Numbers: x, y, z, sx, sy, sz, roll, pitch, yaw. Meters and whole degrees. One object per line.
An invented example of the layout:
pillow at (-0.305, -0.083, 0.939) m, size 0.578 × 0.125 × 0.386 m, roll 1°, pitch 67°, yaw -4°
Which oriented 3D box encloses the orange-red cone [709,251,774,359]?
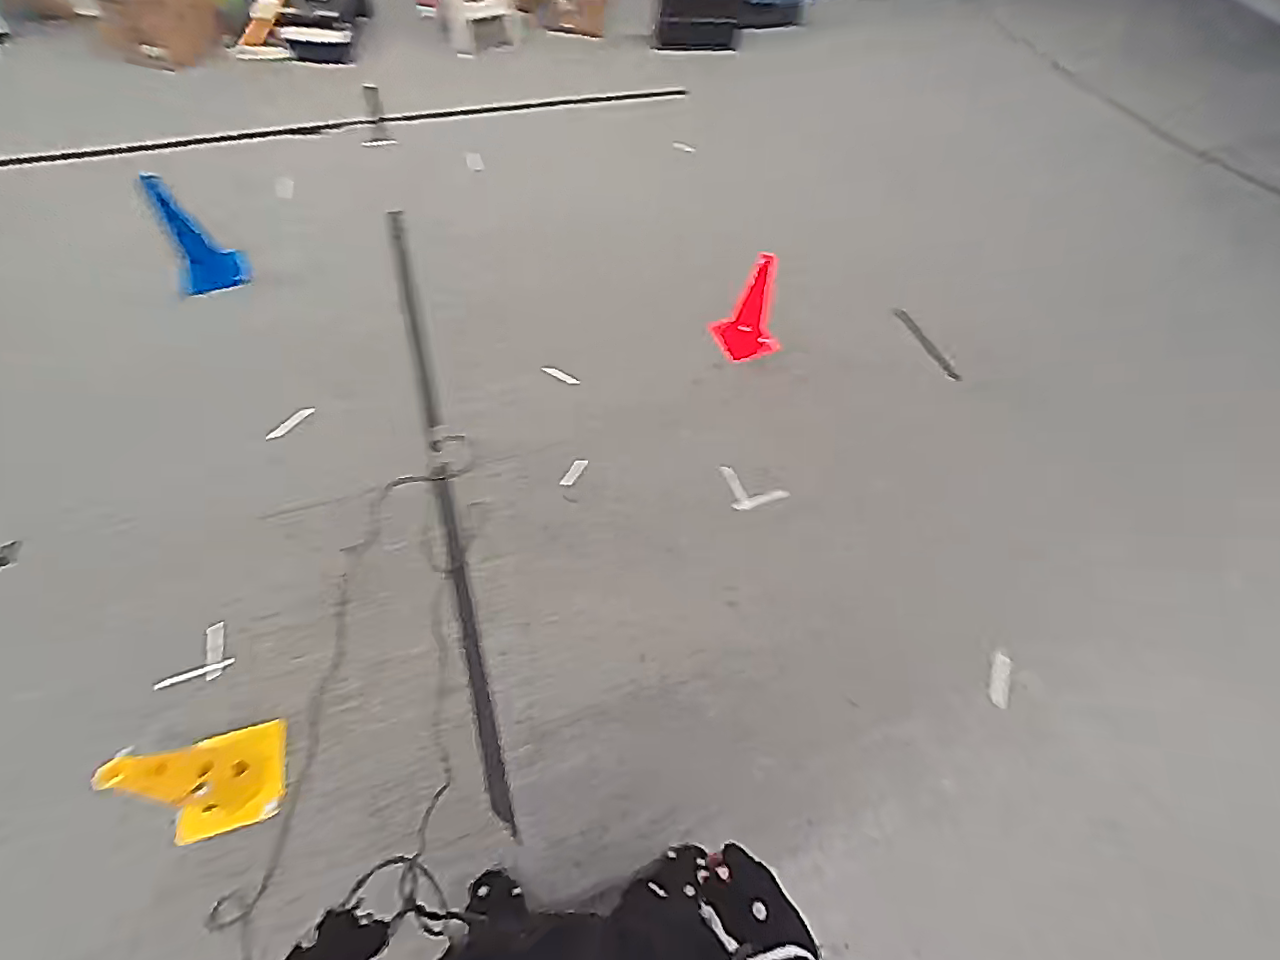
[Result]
orange-red cone at (0.389, -0.627, 1.873) m, size 0.198 × 0.360 × 0.199 m, roll -18°, pitch 61°, yaw -16°

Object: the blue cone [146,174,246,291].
blue cone at (-1.556, -0.855, 1.854) m, size 0.192 × 0.380 × 0.193 m, roll -19°, pitch 63°, yaw -16°
